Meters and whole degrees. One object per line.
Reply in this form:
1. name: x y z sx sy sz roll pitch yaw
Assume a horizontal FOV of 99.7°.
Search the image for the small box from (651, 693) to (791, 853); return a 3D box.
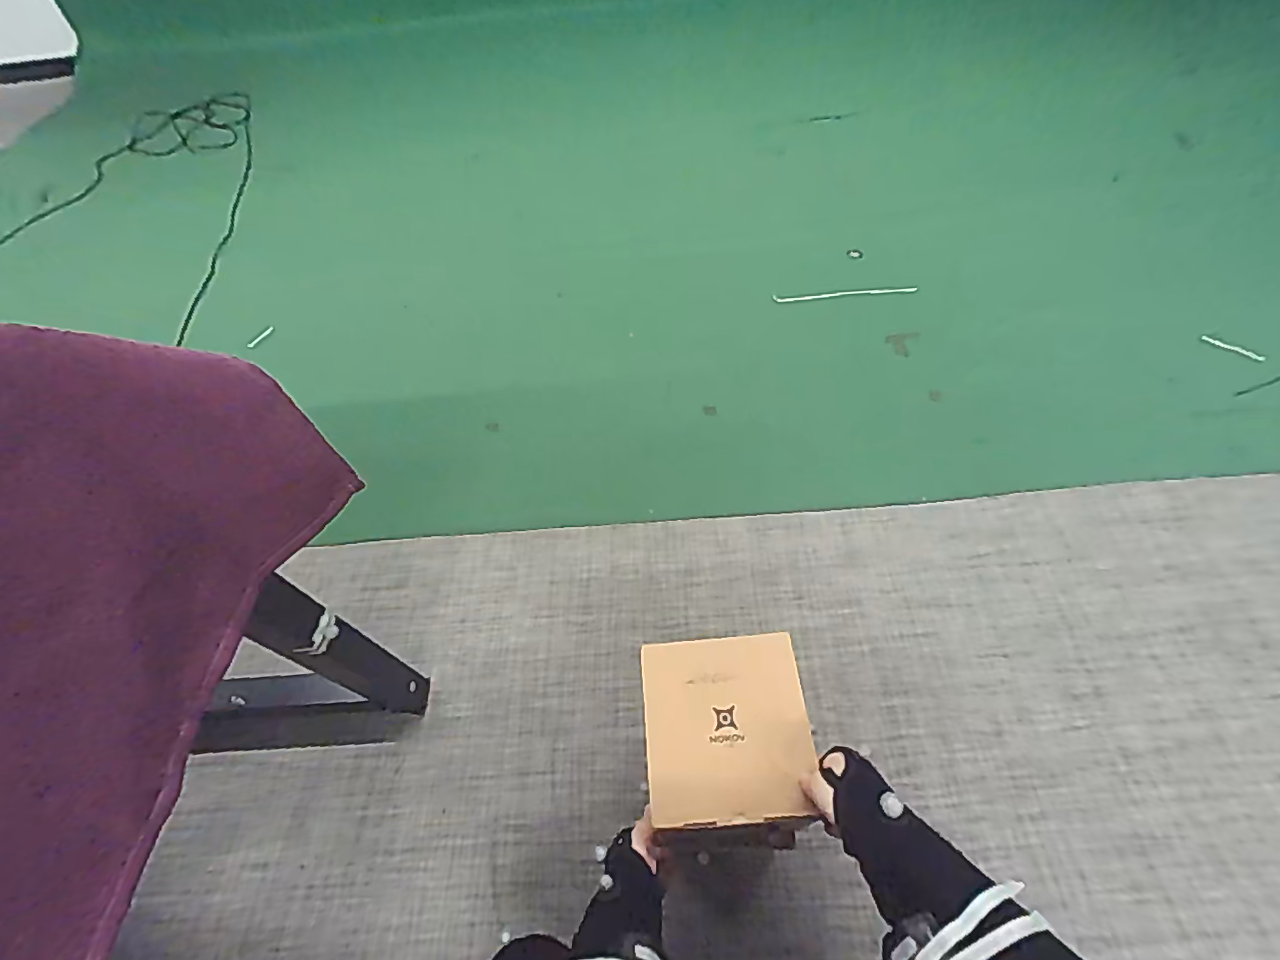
1. small box: 0.102 0.402 0.738 0.168 0.176 0.179 -2 54 3
